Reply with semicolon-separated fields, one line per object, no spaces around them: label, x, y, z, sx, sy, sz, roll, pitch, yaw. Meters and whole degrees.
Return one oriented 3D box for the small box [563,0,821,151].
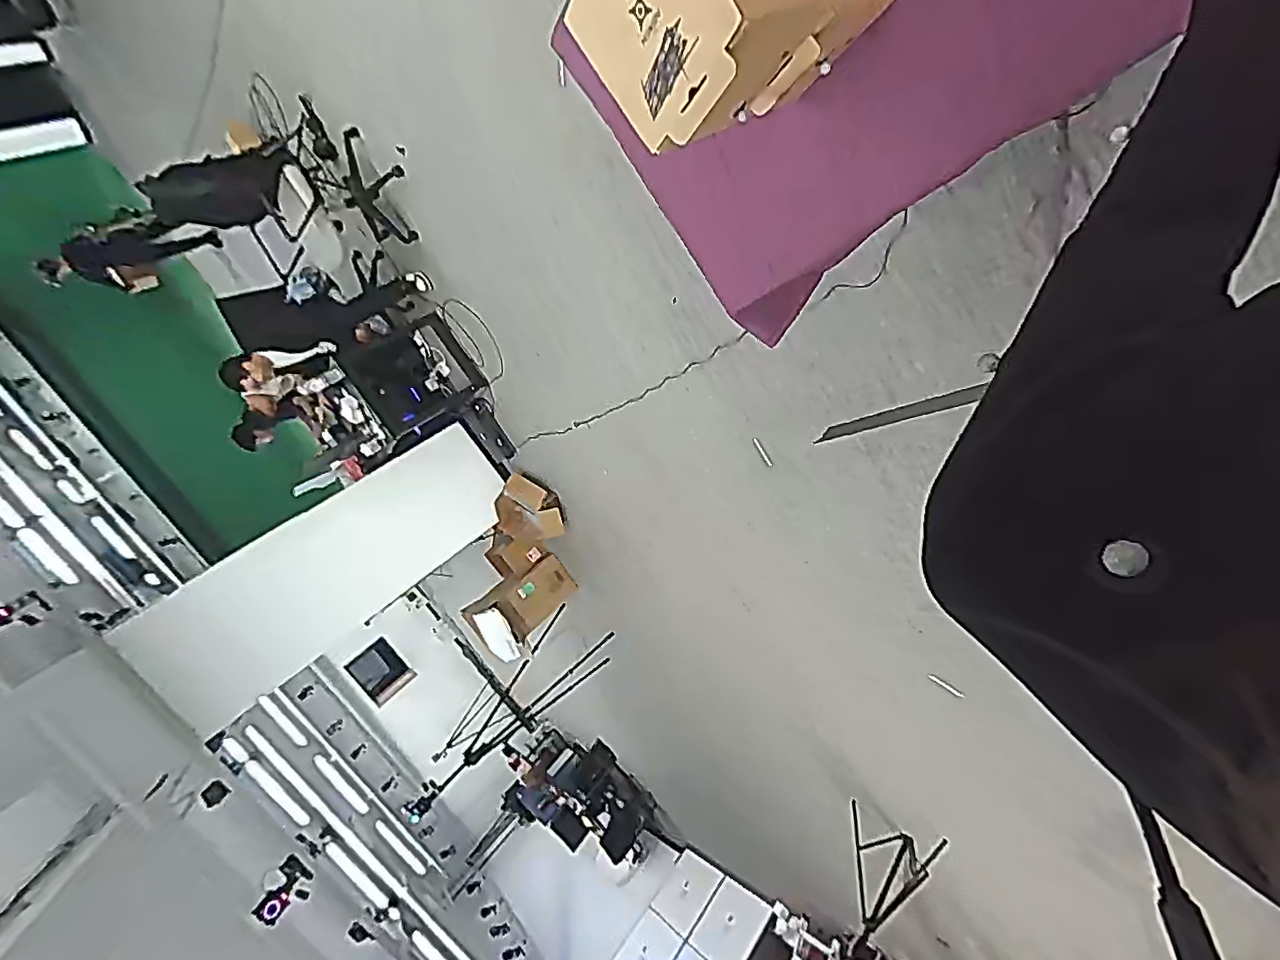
small box;0.056;-0.501;0.575;0.179;0.176;0.168;54;148;-6

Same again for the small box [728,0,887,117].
small box;0.164;-0.594;0.658;0.179;0.176;0.168;55;149;-10
